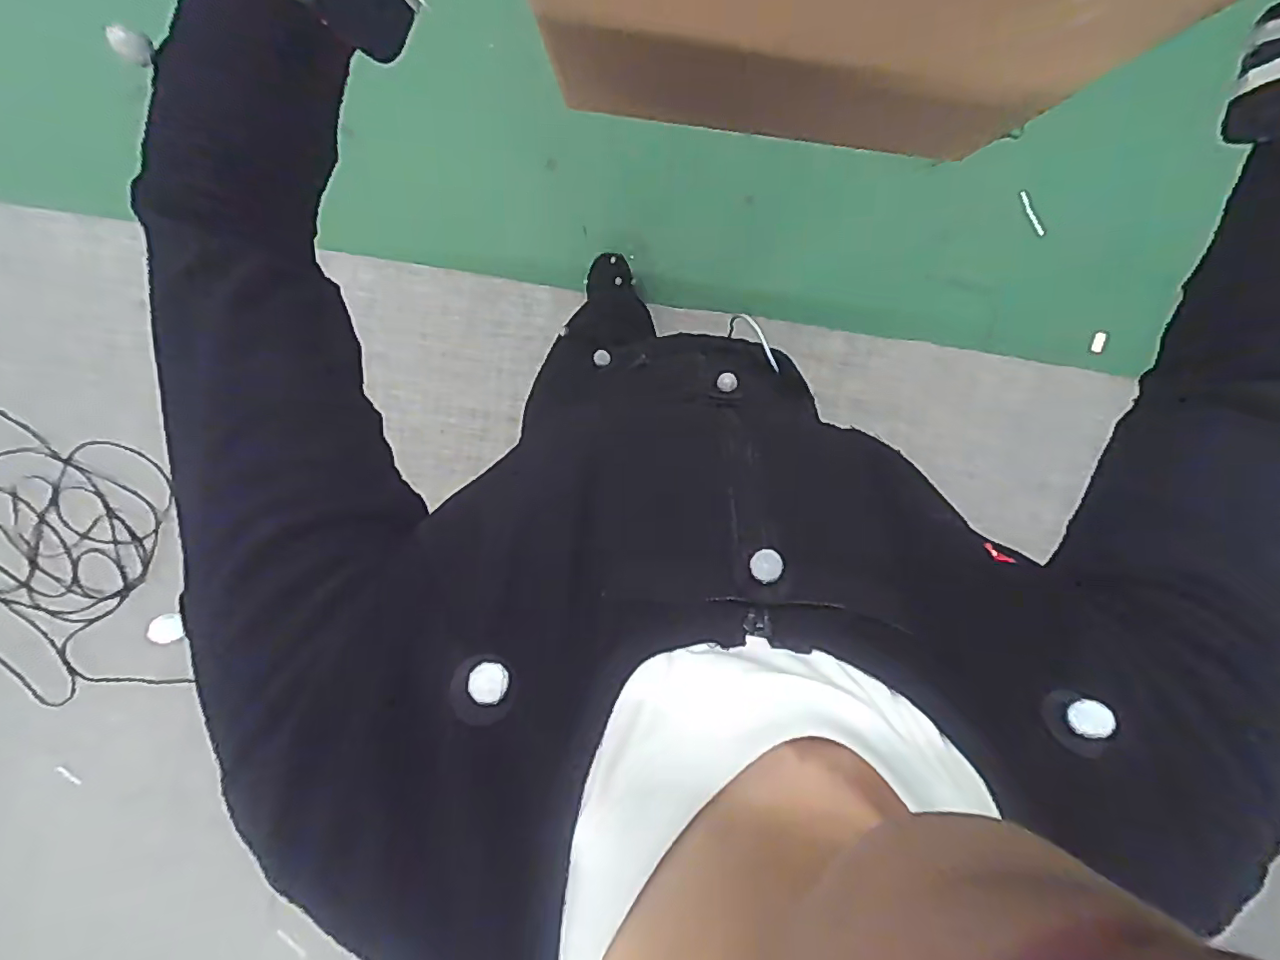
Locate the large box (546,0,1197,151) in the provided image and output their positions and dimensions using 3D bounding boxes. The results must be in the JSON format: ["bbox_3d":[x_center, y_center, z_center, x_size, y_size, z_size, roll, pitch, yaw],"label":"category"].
[{"bbox_3d":[0.143,-0.462,0.366,0.408,0.320,0.320,6,105,-2],"label":"large box"}]
